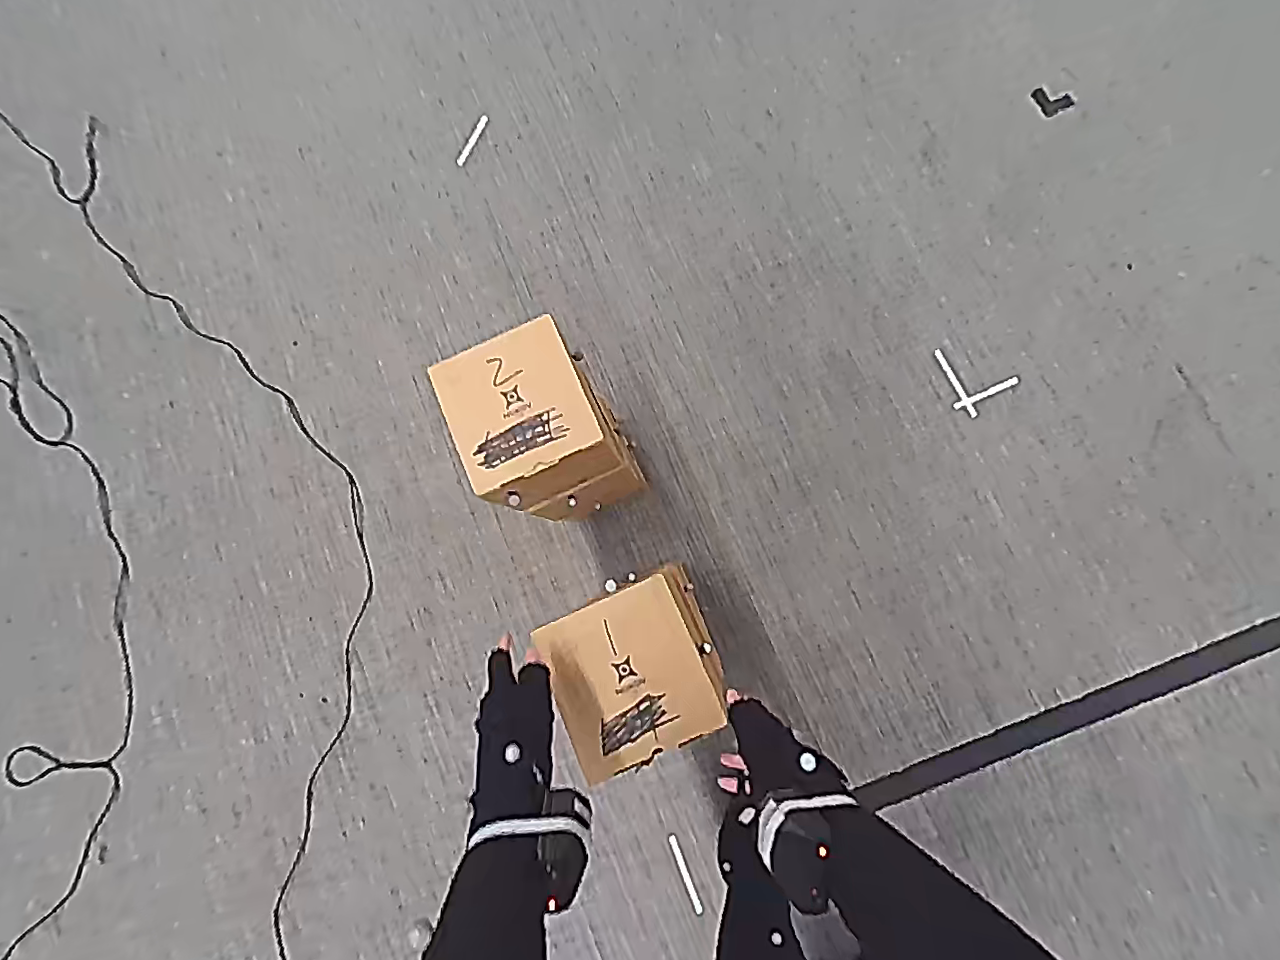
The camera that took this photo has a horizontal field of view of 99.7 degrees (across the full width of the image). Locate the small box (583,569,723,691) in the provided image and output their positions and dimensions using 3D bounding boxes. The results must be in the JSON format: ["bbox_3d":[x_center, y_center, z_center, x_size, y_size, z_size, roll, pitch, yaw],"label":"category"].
[{"bbox_3d":[0.015,0.248,0.824,0.168,0.176,0.179,-26,81,2],"label":"small box"}]

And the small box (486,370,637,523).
[{"bbox_3d":[-0.117,-0.043,0.872,0.168,0.176,0.179,-26,80,1],"label":"small box"}]

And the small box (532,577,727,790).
[{"bbox_3d":[-0.005,0.230,0.661,0.168,0.176,0.179,-25,80,1],"label":"small box"}]

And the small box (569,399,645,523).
[{"bbox_3d":[-0.103,-0.027,1.036,0.179,0.176,0.168,-25,81,1],"label":"small box"}]

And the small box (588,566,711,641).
[{"bbox_3d":[0.025,0.263,0.985,0.179,0.176,0.168,-22,81,1],"label":"small box"}]
